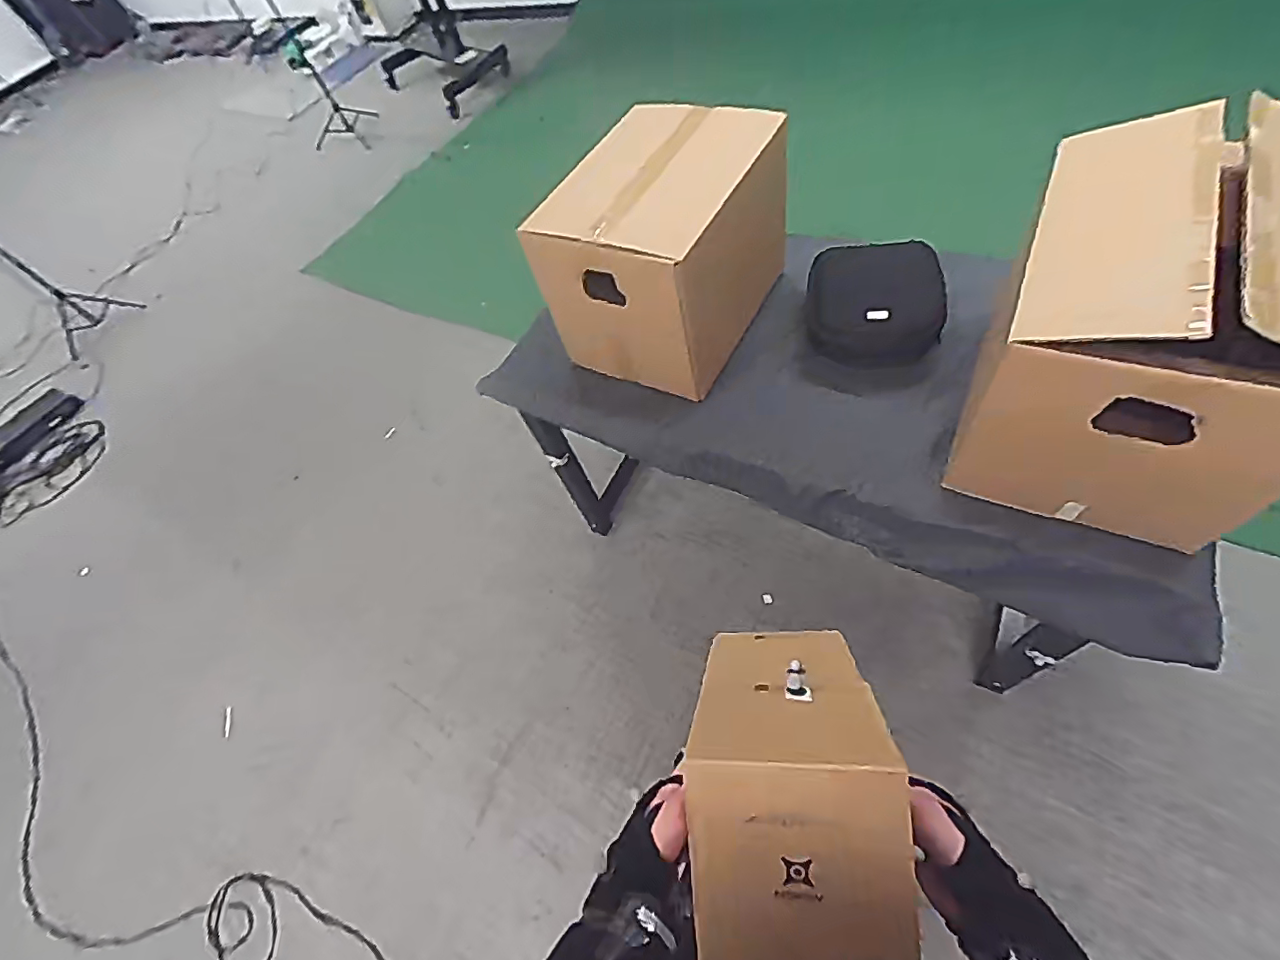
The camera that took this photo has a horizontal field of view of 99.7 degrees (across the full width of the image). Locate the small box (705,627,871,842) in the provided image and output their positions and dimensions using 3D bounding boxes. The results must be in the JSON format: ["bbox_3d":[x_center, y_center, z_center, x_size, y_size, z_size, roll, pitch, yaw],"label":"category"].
[{"bbox_3d":[0.175,0.291,0.653,0.168,0.176,0.179,-5,91,13],"label":"small box"}]
